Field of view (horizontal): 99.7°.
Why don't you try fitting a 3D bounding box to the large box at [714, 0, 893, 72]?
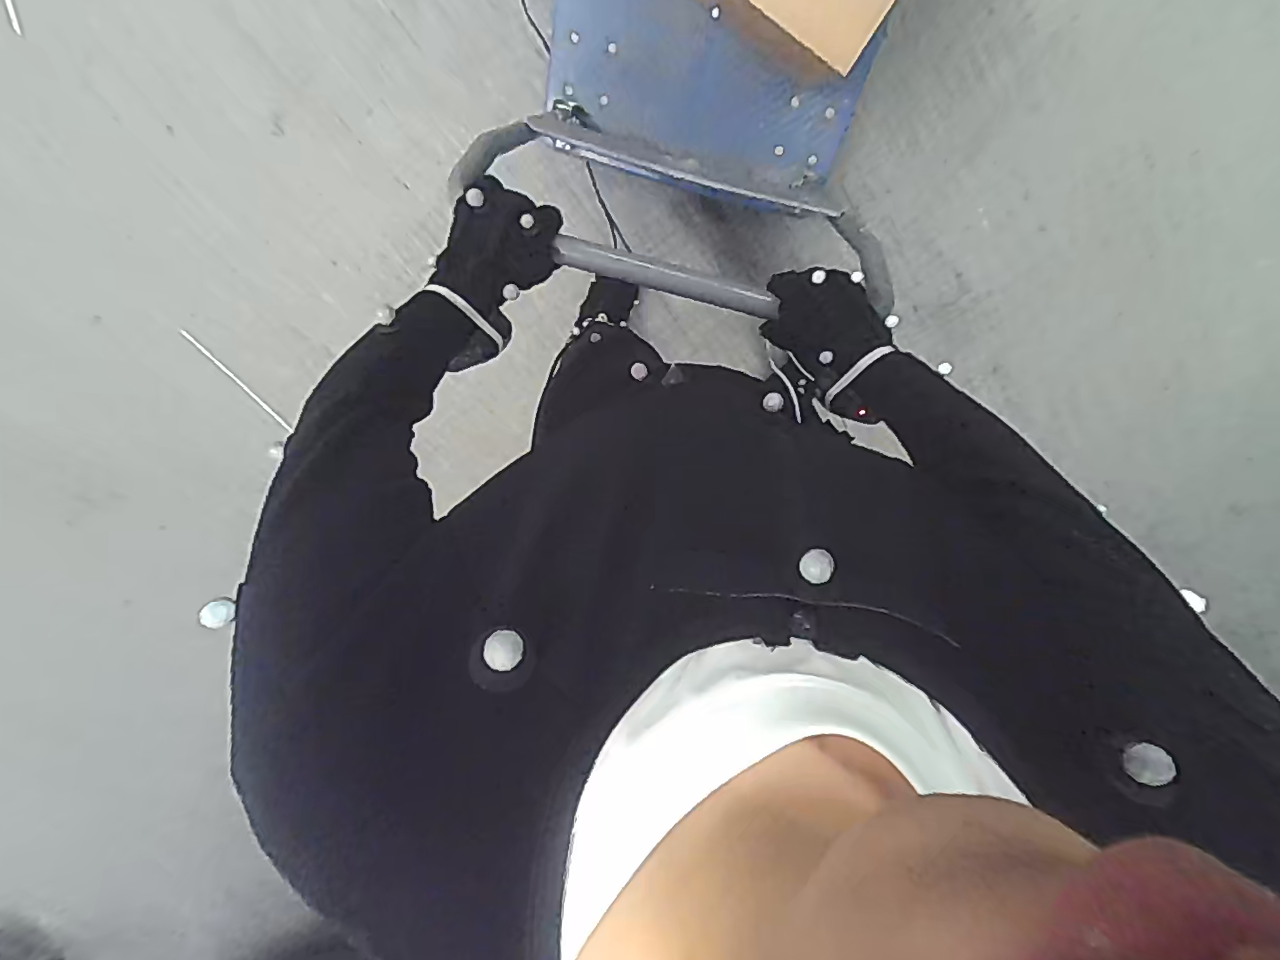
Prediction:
[{"bbox_3d":[0.206,-0.843,0.743,0.408,0.320,0.320,28,123,-12],"label":"large box"}]
